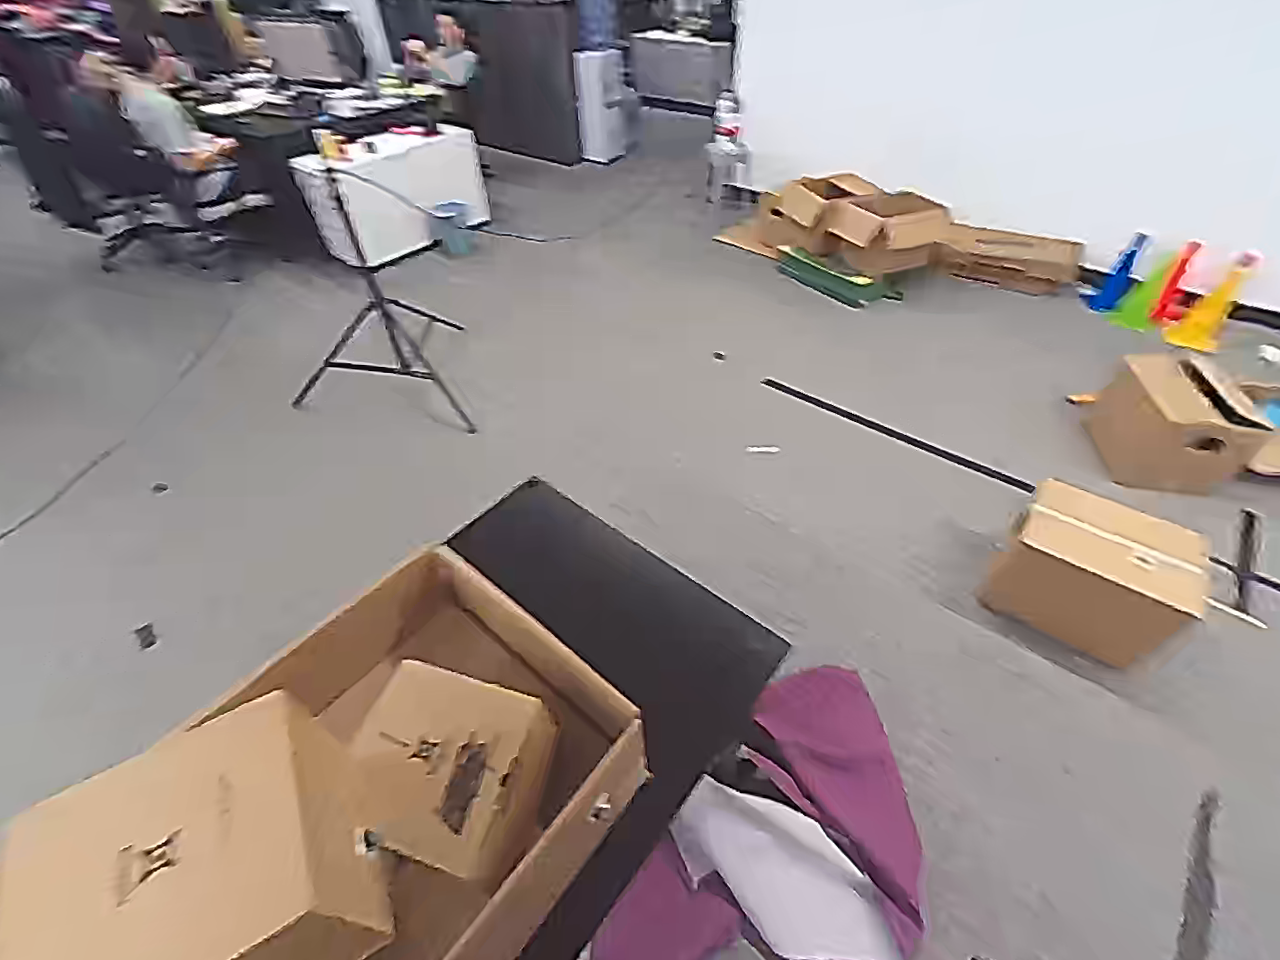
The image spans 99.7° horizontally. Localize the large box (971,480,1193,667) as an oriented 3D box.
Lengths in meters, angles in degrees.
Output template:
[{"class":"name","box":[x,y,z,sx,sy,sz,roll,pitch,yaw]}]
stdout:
[{"class":"large box","box":[1.285,0.270,1.605,0.408,0.320,0.320,27,53,25]}]
